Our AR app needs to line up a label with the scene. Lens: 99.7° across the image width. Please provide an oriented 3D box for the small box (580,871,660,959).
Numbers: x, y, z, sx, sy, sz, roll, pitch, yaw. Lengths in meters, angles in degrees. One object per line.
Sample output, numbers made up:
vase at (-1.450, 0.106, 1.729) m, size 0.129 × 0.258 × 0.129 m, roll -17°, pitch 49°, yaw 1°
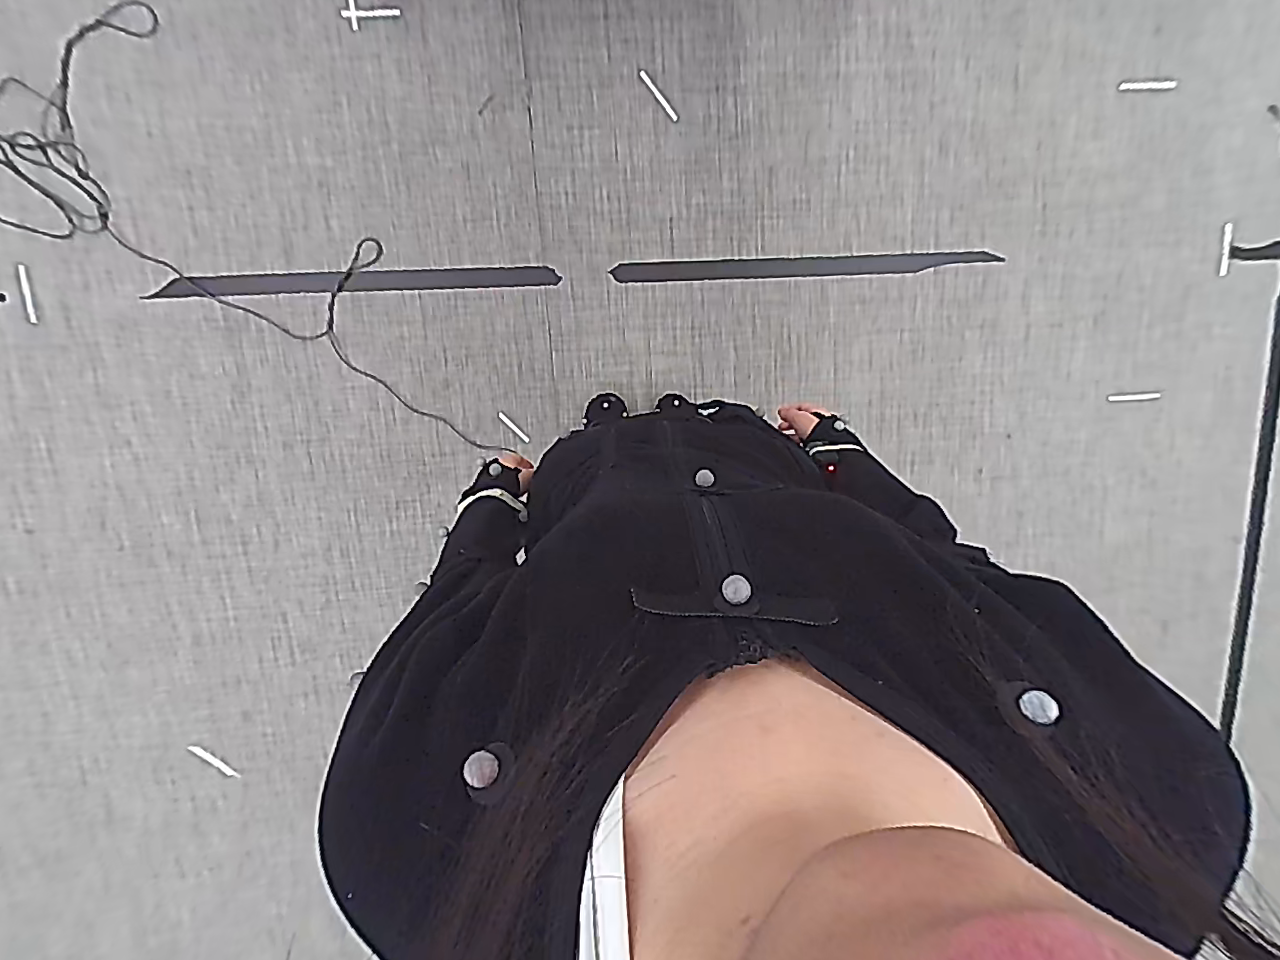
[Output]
small box at (-0.047, 1.073, 1.288) m, size 0.179 × 0.176 × 0.168 m, roll -5°, pitch 98°, yaw -2°
